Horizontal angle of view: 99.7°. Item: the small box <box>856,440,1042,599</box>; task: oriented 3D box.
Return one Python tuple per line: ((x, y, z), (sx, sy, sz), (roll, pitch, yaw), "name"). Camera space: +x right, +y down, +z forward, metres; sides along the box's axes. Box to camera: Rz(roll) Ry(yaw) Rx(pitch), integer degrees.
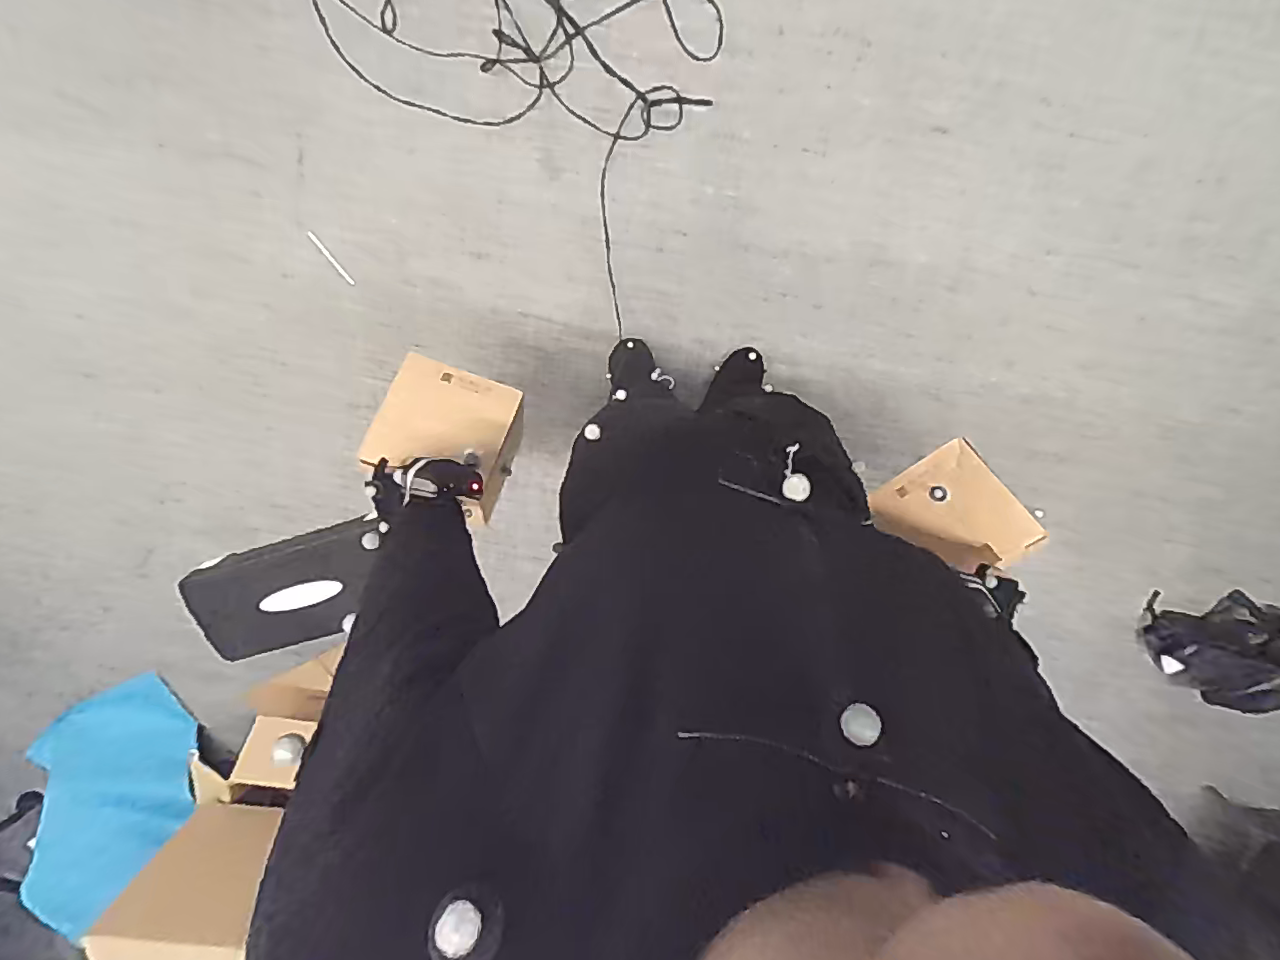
((0.452, 0.061, 0.803), (0.168, 0.179, 0.176), (-39, 63, 23), "small box")
